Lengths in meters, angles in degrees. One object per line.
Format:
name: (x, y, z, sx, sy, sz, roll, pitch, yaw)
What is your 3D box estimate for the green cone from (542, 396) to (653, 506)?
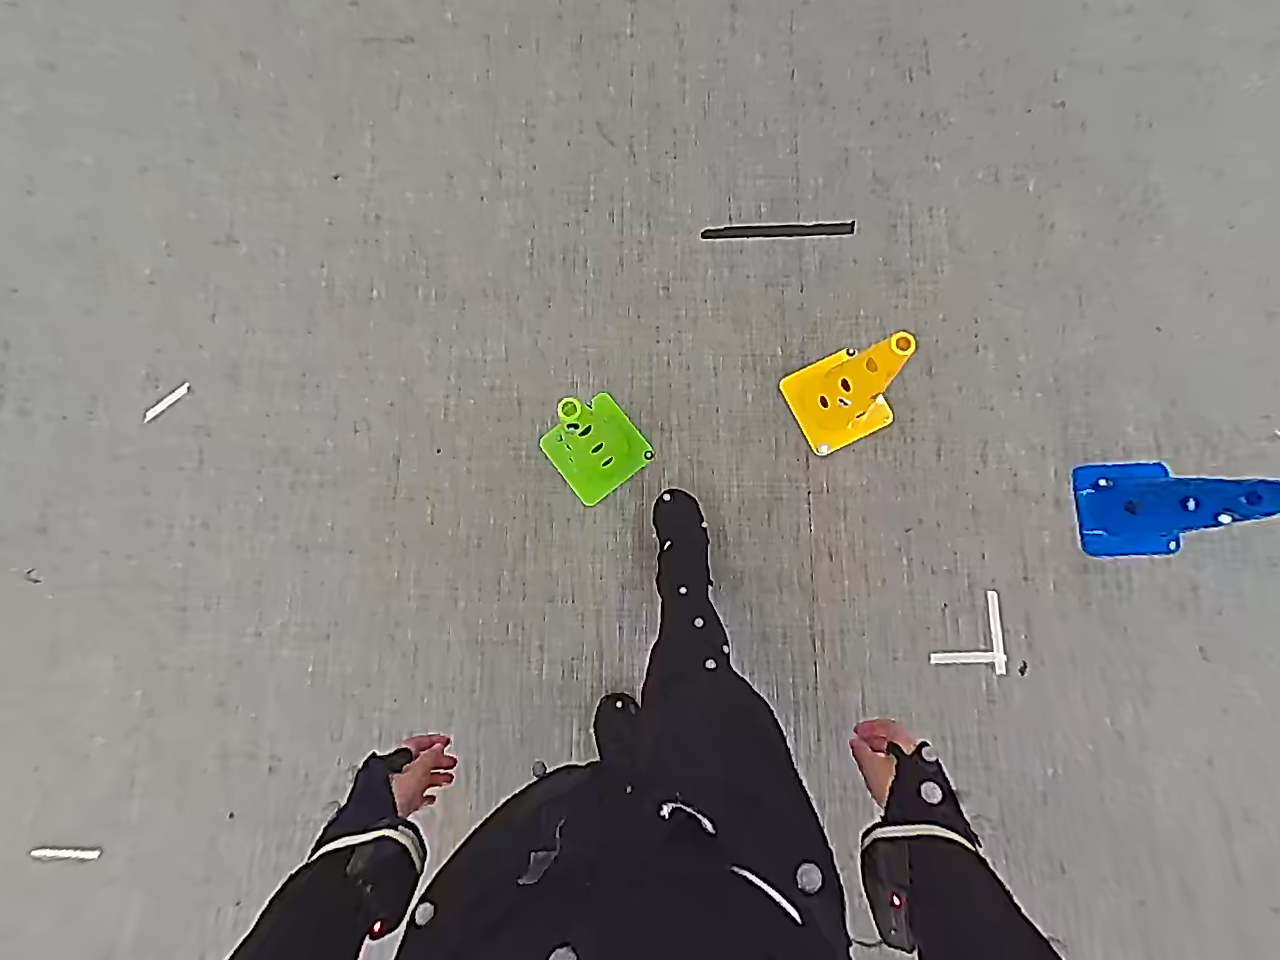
green cone: (-0.109, -0.090, 1.066, 0.202, 0.368, 0.200, -39, 81, -2)
